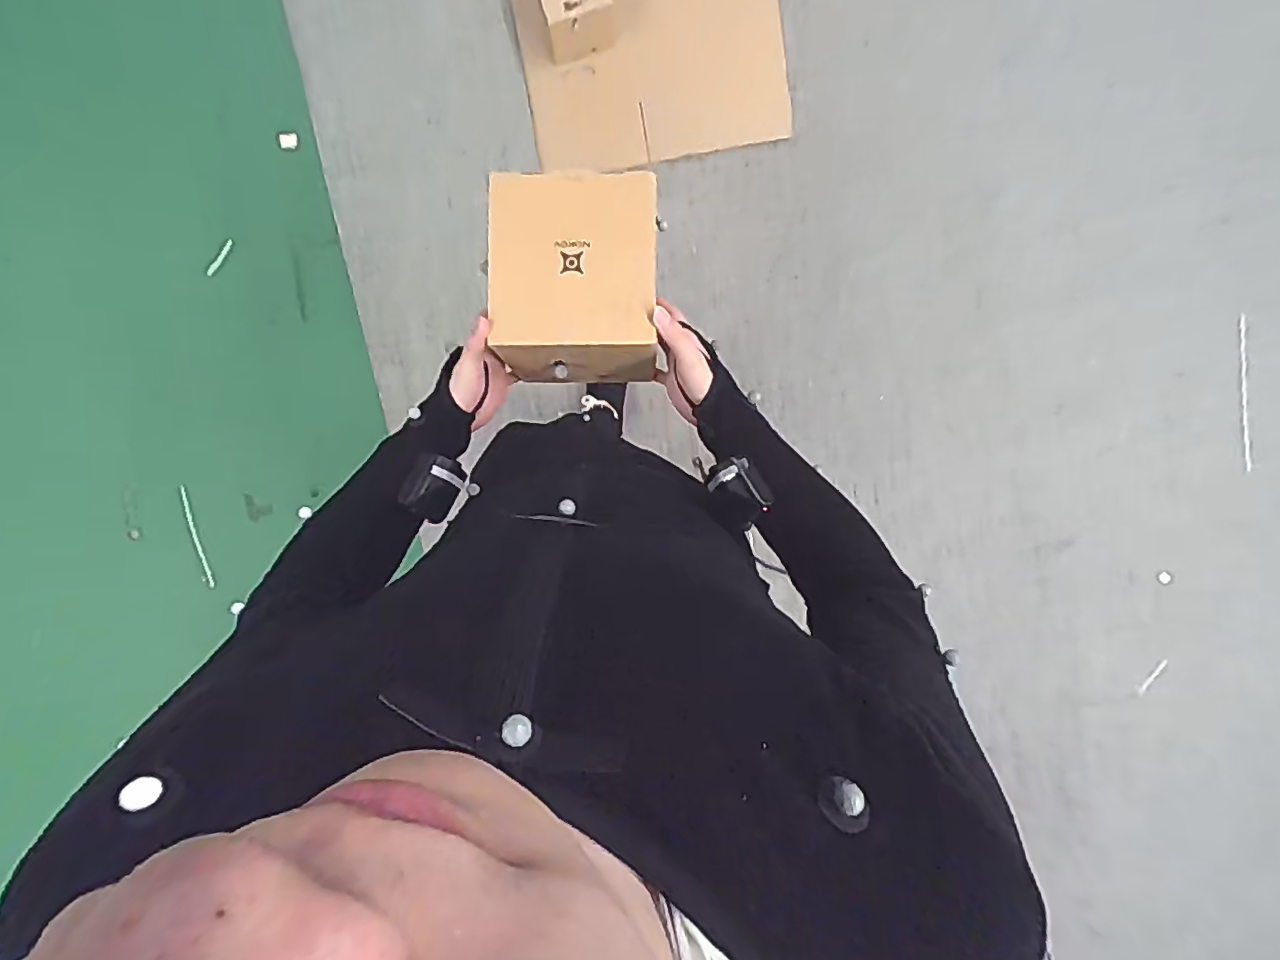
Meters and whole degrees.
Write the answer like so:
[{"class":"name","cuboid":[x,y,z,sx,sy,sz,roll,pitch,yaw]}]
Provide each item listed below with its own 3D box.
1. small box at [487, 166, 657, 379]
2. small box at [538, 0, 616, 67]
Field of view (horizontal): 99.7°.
[{"class":"small box","cuboid":[-0.064,-0.213,0.601,0.168,0.176,0.179,-1,86,1]},{"class":"small box","cuboid":[-0.163,-1.184,1.338,0.168,0.176,0.179,-18,98,2]}]
